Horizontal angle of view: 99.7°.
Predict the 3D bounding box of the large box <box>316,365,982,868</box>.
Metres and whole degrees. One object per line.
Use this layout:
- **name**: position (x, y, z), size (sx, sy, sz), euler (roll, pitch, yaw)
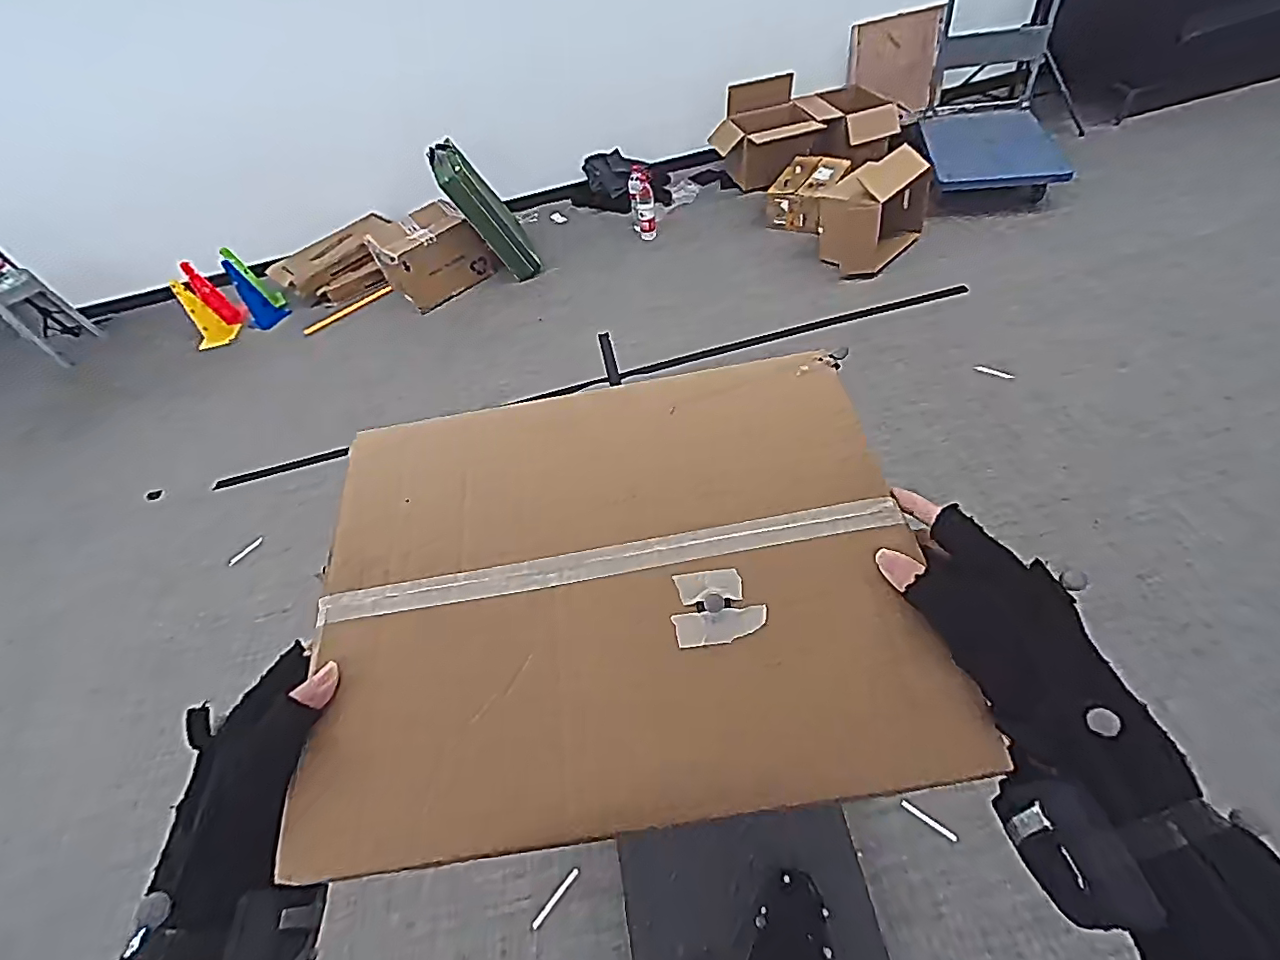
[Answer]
- **large box**: position (-0.003, 0.140, 0.516), size (0.408, 0.320, 0.320), euler (-10, 59, 1)
